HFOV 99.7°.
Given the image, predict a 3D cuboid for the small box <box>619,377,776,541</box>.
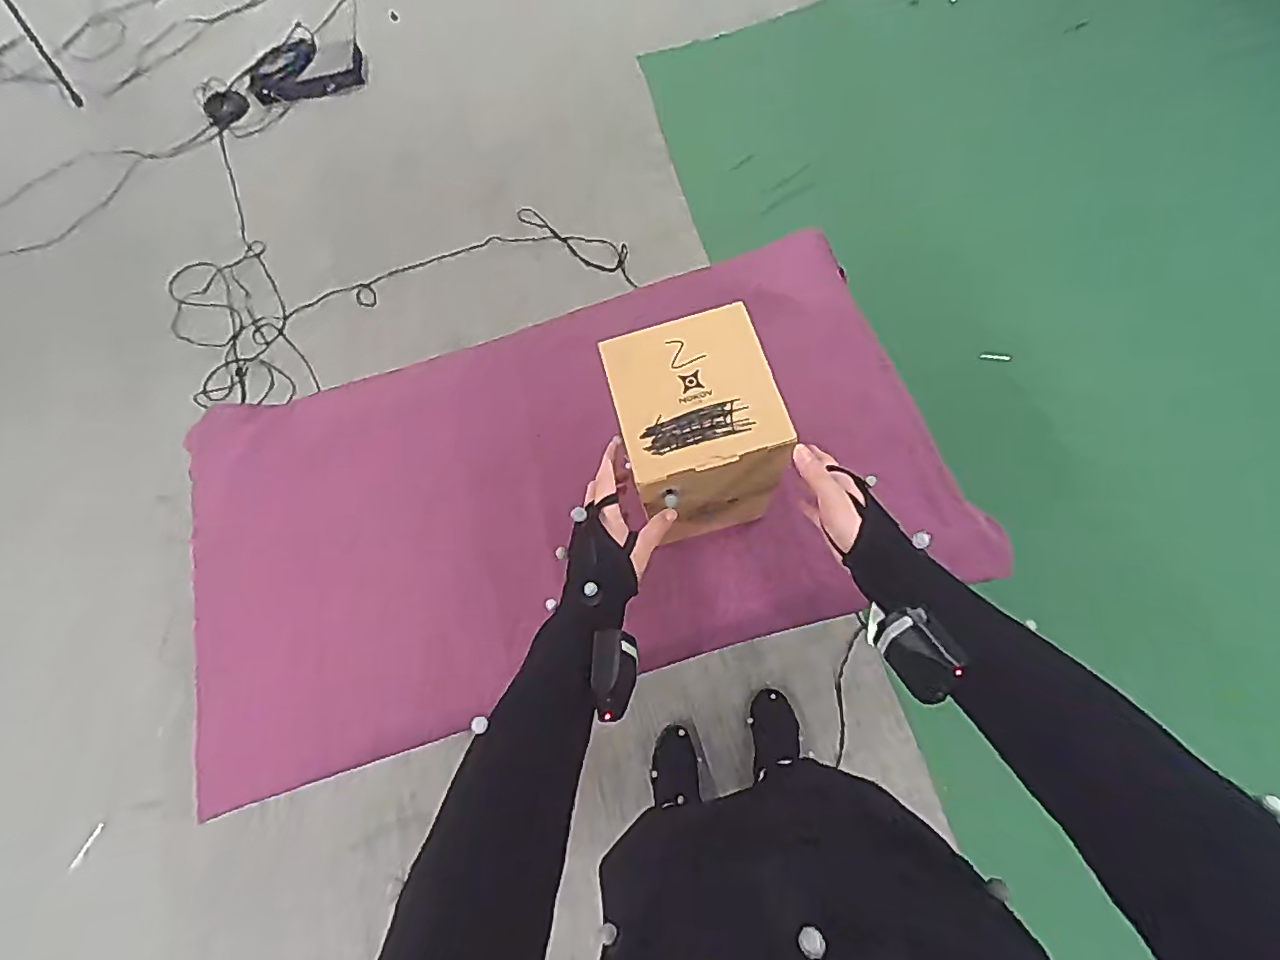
[{"bbox_3d":[0.081,-0.020,0.791,0.179,0.176,0.168,-15,70,0],"label":"small box"}]
